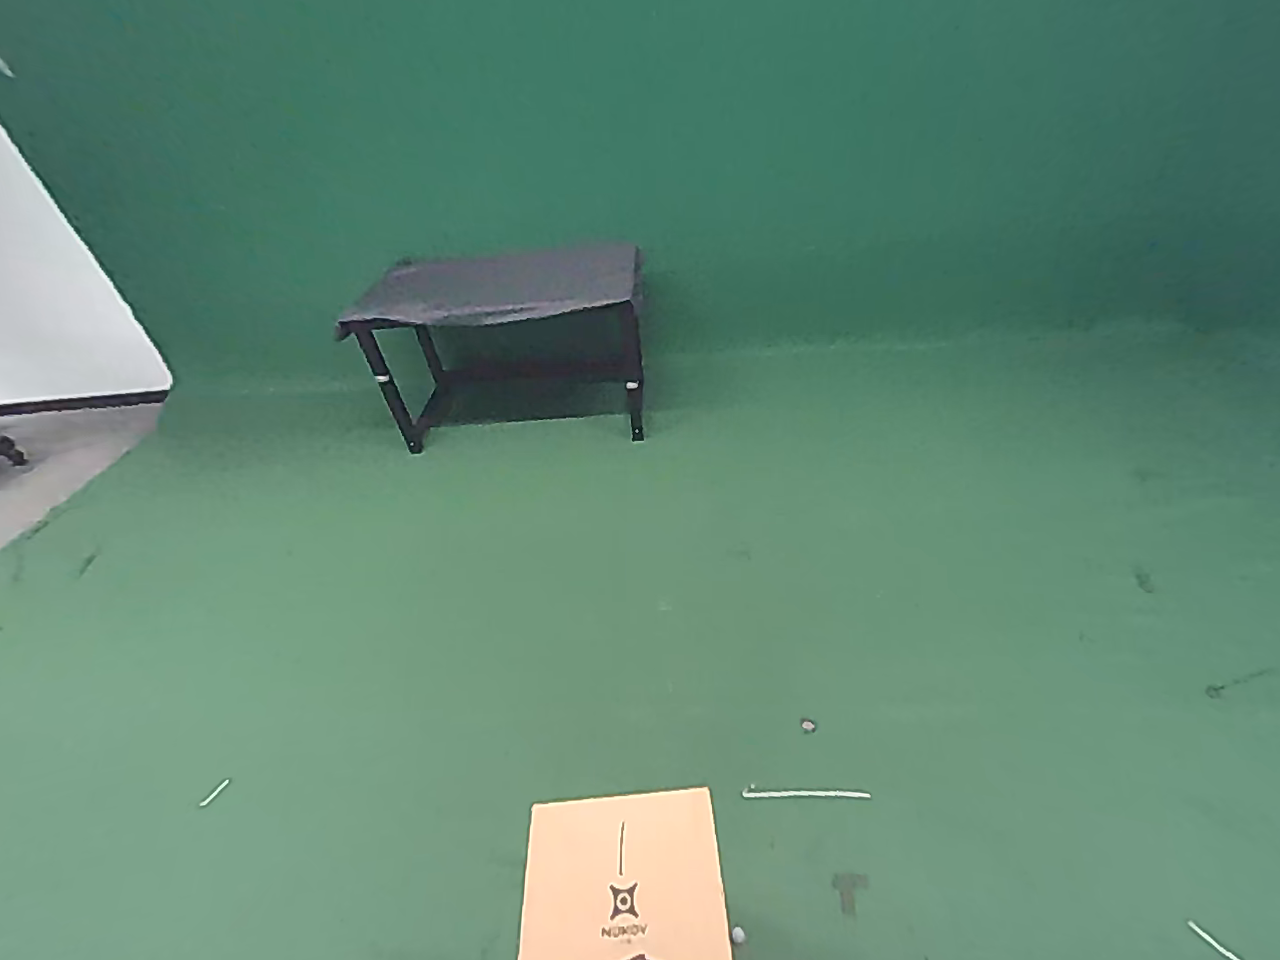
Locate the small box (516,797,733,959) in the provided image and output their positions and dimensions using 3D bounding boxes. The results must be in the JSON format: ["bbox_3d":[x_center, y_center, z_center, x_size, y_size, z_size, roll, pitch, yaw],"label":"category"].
[{"bbox_3d":[-0.004,0.407,0.473,0.168,0.176,0.179,-7,40,2],"label":"small box"}]
